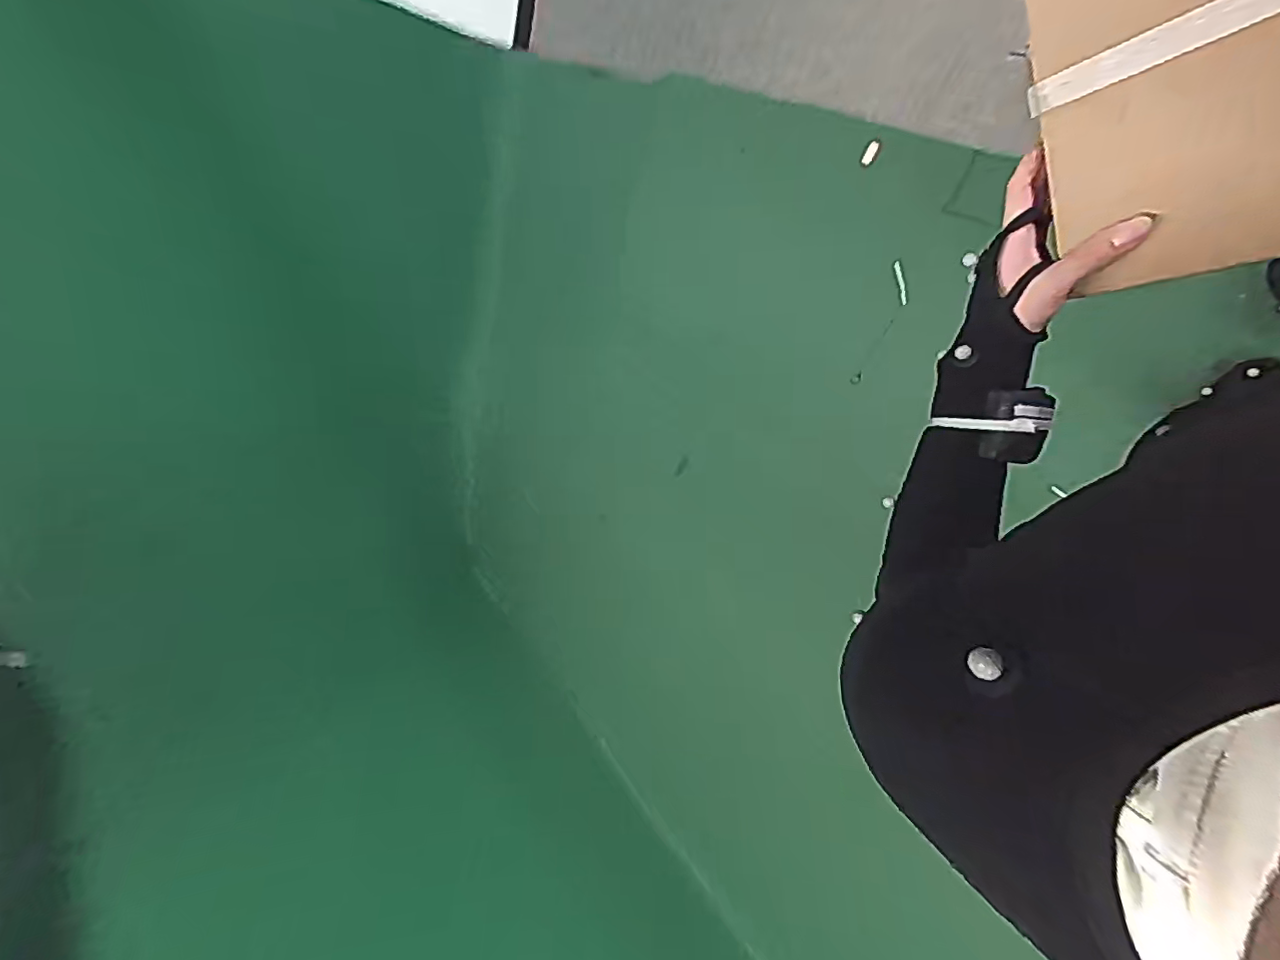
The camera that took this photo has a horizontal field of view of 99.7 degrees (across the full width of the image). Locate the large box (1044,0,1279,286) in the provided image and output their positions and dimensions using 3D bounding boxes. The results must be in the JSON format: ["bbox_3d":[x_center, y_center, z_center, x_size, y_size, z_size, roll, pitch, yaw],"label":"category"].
[{"bbox_3d":[0.540,-0.365,0.349,0.408,0.320,0.320,-1,117,48],"label":"large box"}]
